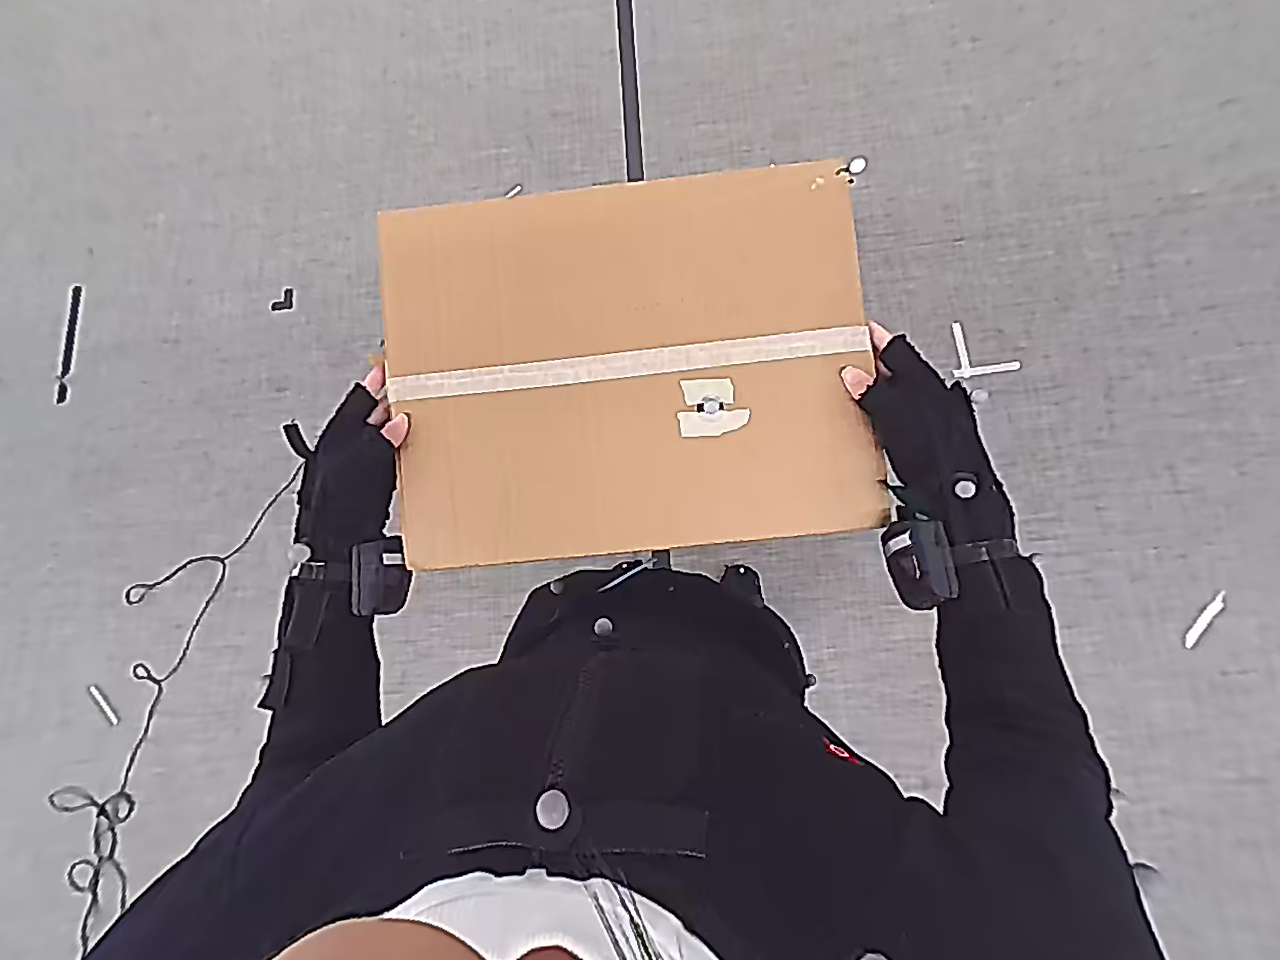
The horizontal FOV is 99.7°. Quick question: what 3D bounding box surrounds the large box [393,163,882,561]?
[{"bbox_3d":[-0.005,-0.097,0.617,0.408,0.320,0.320,-6,88,1],"label":"large box"}]
